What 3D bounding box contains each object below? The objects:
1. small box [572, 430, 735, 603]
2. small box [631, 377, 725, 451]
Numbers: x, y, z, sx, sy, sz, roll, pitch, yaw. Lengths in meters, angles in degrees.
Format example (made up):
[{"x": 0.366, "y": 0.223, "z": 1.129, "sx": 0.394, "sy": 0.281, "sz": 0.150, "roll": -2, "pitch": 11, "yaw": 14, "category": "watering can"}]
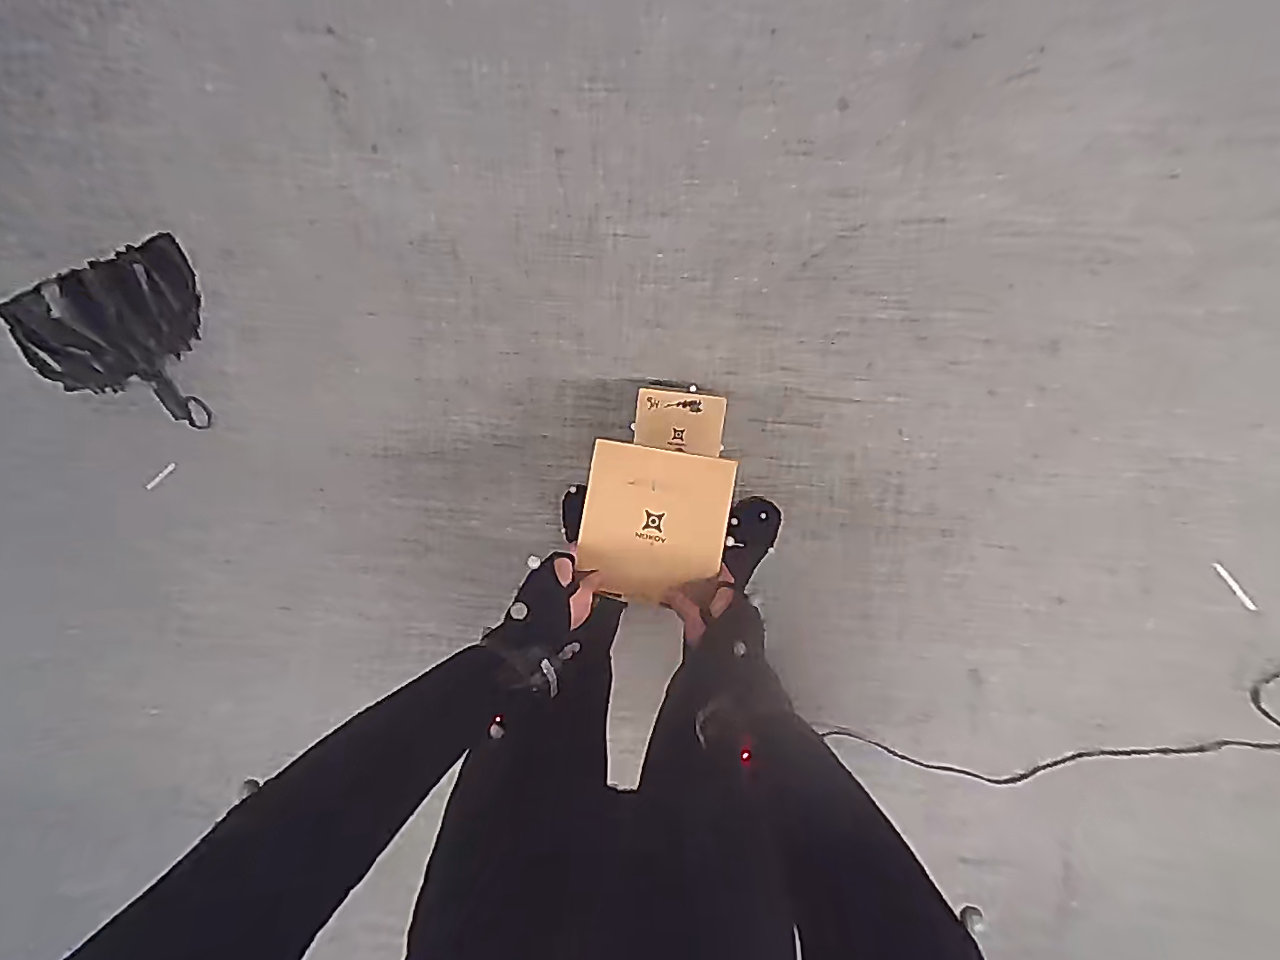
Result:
[{"x": 0.021, "y": 0.044, "z": 0.703, "sx": 0.168, "sy": 0.176, "sz": 0.179, "roll": 10, "pitch": 88, "yaw": 4, "category": "small box"}, {"x": 0.073, "y": -0.109, "z": 1.094, "sx": 0.168, "sy": 0.176, "sz": 0.179, "roll": 7, "pitch": 104, "yaw": 3, "category": "small box"}]
